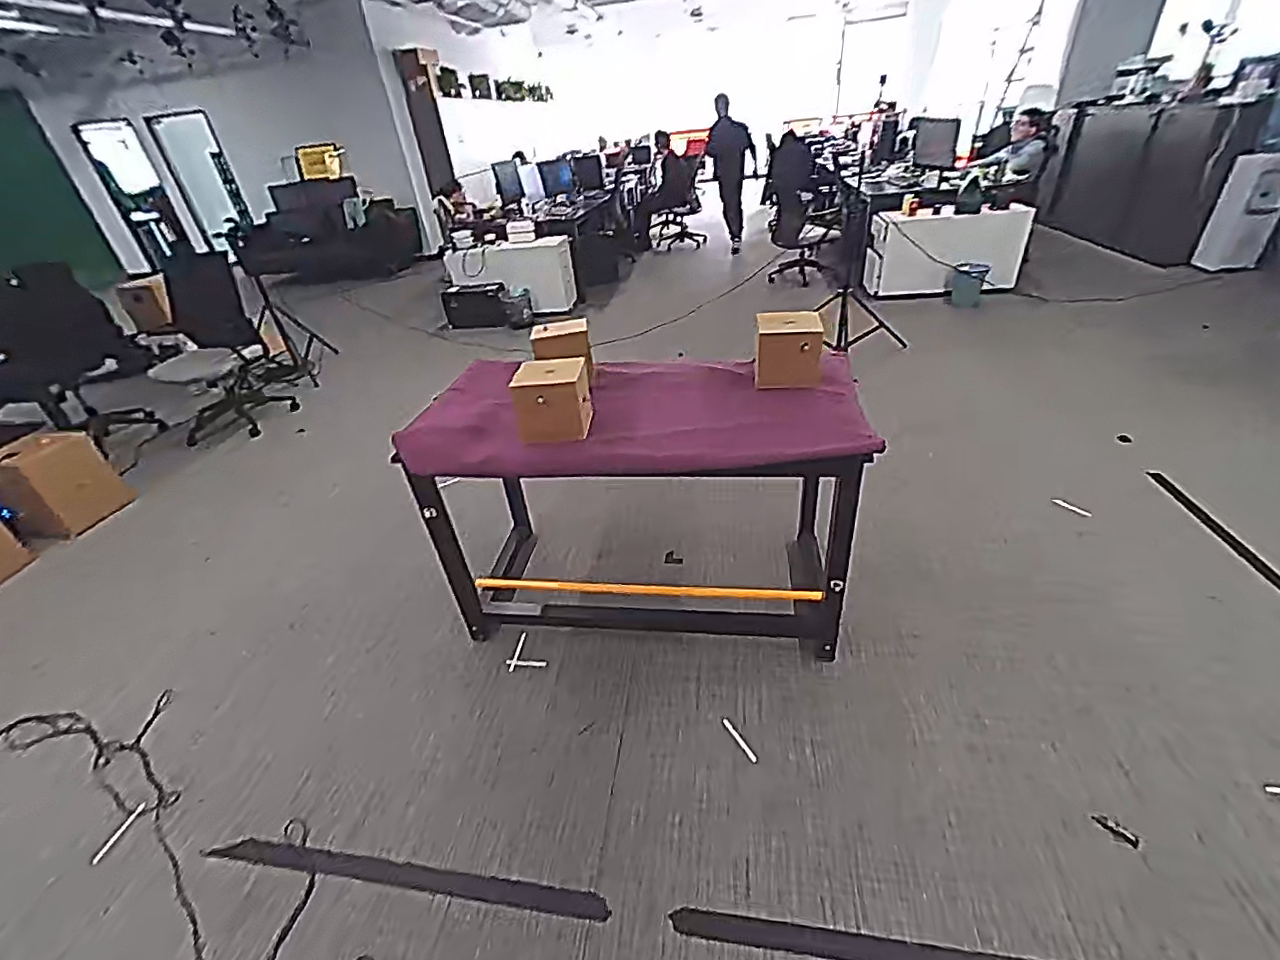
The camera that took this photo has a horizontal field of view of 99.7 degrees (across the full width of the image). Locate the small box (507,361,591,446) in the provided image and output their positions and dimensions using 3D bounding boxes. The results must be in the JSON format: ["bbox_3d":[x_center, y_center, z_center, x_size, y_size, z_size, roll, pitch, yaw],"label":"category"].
[{"bbox_3d":[-0.232,-0.203,1.439,0.179,0.176,0.168,-3,33,5],"label":"small box"}]

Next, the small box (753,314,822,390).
[{"bbox_3d":[0.422,-0.372,1.573,0.179,0.176,0.168,0,35,10],"label":"small box"}]
